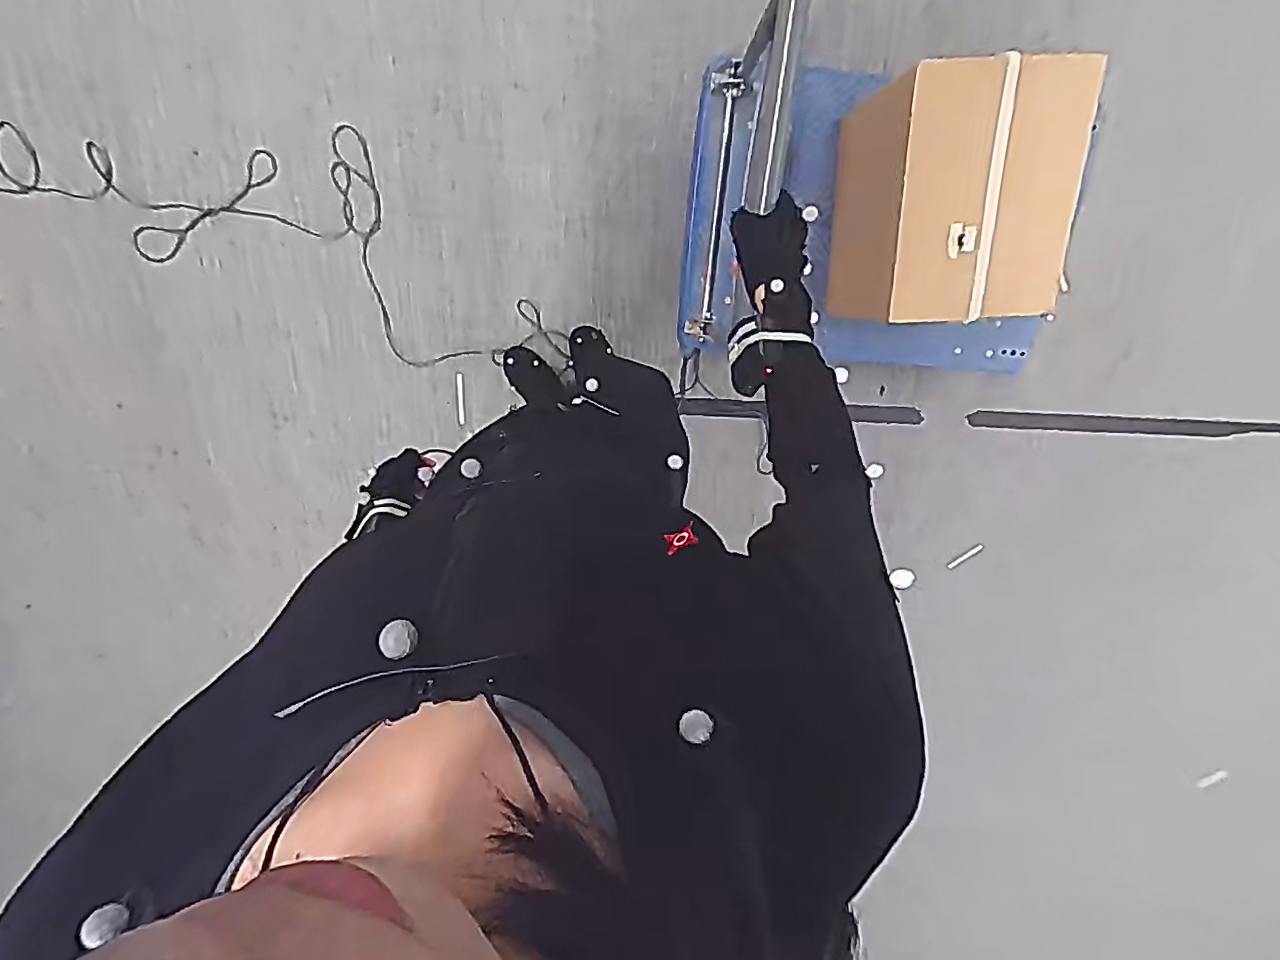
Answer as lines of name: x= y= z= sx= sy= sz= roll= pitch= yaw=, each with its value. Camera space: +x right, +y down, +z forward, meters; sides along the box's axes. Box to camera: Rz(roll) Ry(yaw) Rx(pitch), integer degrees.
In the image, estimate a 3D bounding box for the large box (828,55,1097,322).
large box: x=0.588 y=-0.539 z=1.069 sx=0.320 sy=0.320 sz=0.408 roll=-3 pitch=110 yaw=-2
